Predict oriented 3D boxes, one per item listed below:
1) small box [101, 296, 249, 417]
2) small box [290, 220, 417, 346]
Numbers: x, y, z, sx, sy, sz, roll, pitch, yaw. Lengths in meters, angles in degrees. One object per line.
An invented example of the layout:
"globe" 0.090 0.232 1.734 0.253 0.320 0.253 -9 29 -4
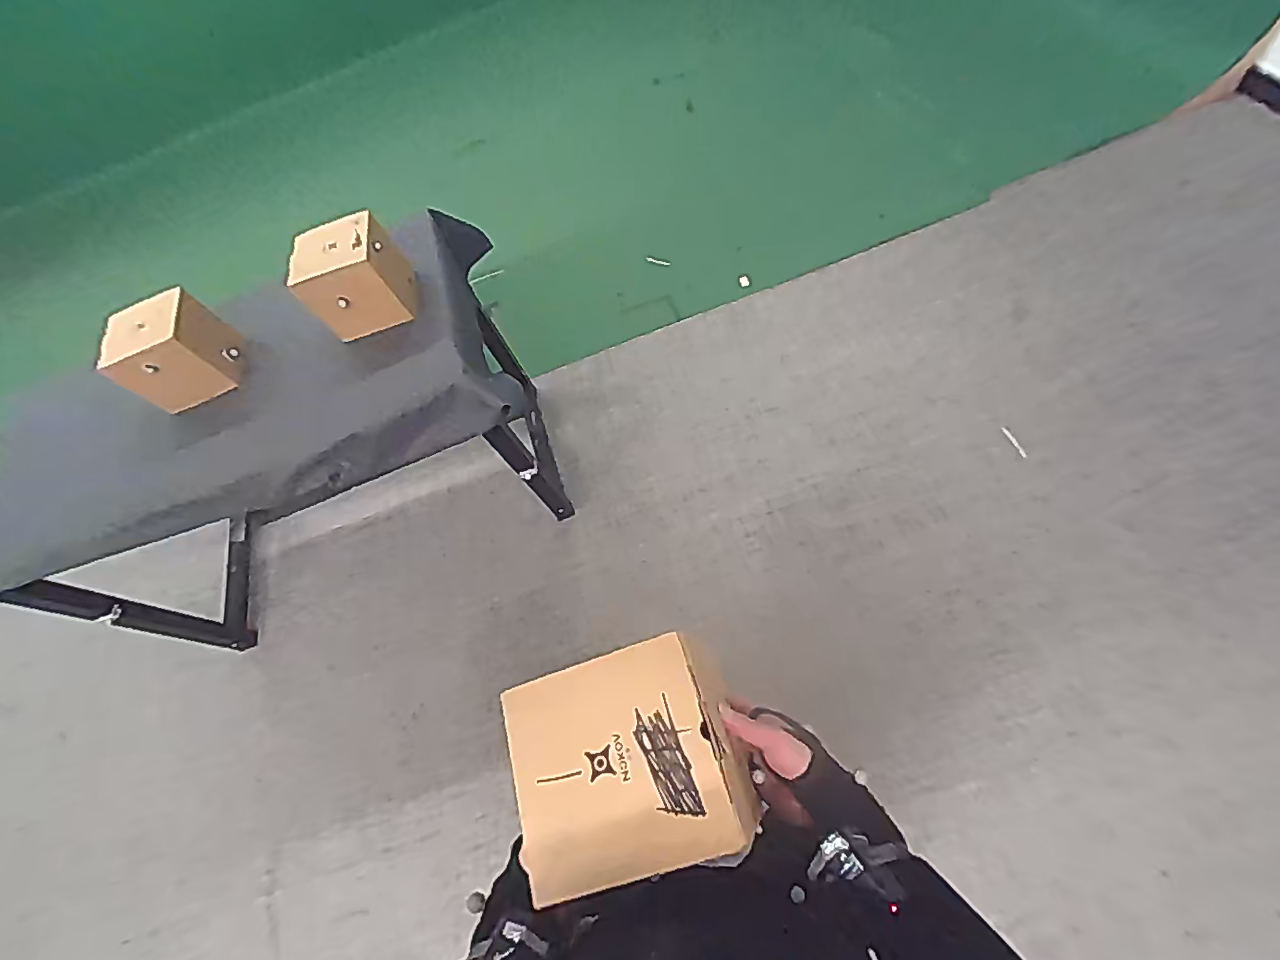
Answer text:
"small box" -1.021 -0.266 1.202 0.179 0.176 0.168 -22 61 1
"small box" -0.614 -0.420 1.177 0.179 0.176 0.168 -17 61 6
